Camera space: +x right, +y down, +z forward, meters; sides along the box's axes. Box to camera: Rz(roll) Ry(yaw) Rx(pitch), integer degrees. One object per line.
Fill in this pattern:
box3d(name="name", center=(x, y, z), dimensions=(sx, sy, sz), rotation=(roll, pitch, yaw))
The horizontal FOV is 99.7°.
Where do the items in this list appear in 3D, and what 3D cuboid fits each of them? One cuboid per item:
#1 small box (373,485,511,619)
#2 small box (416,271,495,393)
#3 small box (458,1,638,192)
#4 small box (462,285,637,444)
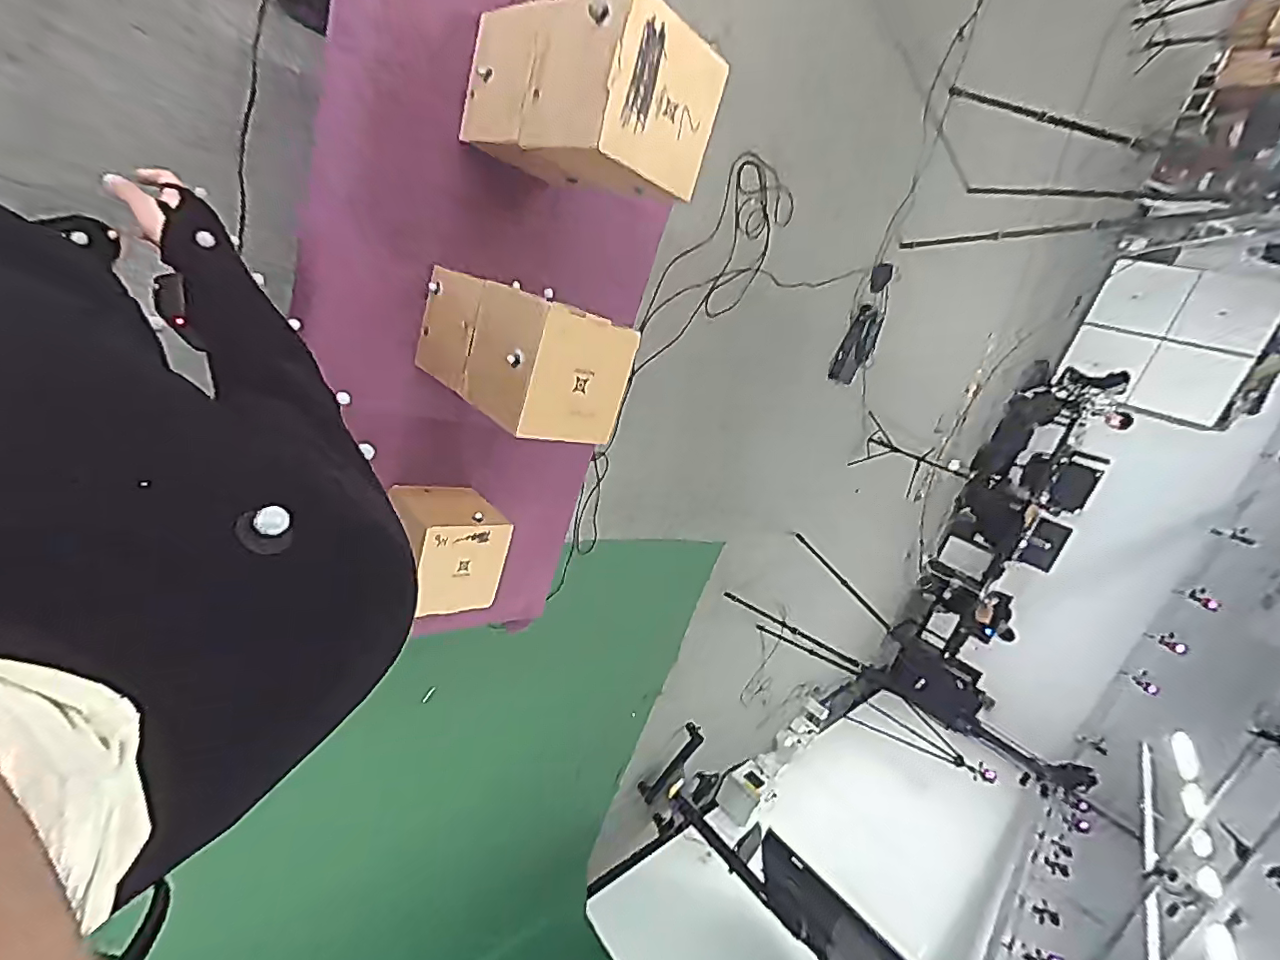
box3d(name="small box", center=(-0.367, 0.125, 0.989), dimensions=(0.168, 0.176, 0.179), rotation=(3, 112, -48))
box3d(name="small box", center=(-0.243, -0.233, 0.891), dimensions=(0.179, 0.176, 0.168), rotation=(1, 113, -48))
box3d(name="small box", center=(-0.138, -0.550, 0.796), dimensions=(0.179, 0.176, 0.168), rotation=(0, 114, -47))
box3d(name="small box", center=(-0.137, -0.167, 0.786), dimensions=(0.168, 0.176, 0.179), rotation=(2, 113, -46))
